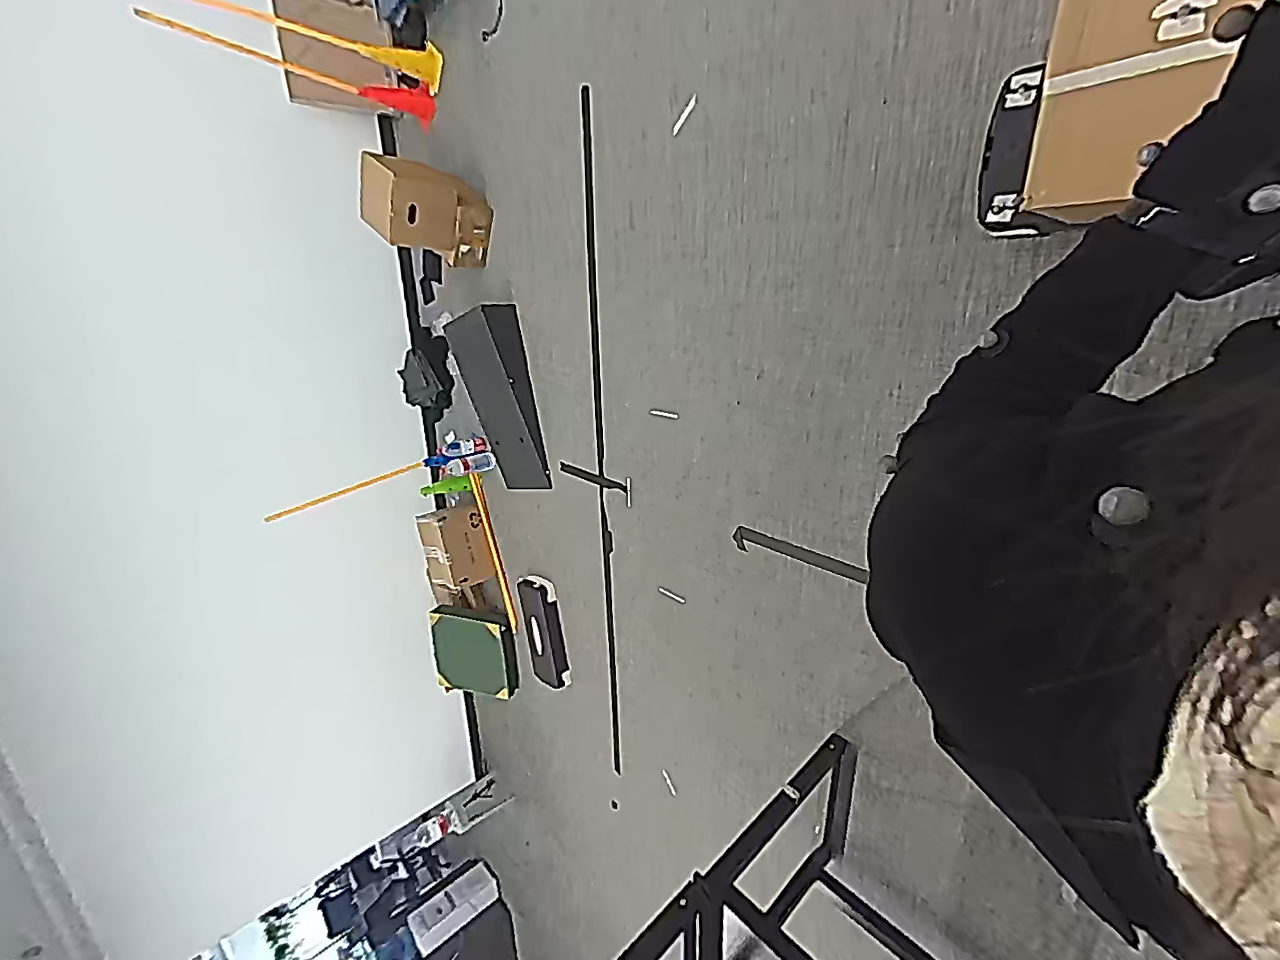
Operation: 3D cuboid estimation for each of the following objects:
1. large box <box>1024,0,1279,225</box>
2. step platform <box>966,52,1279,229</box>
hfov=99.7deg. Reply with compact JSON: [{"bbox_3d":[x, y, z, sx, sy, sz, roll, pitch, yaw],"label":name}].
[{"bbox_3d":[0.815,-0.534,0.714,0.408,0.320,0.320,19,116,45],"label":"large box"},{"bbox_3d":[0.954,-0.582,0.910,0.684,0.204,0.286,26,122,42],"label":"step platform"}]
